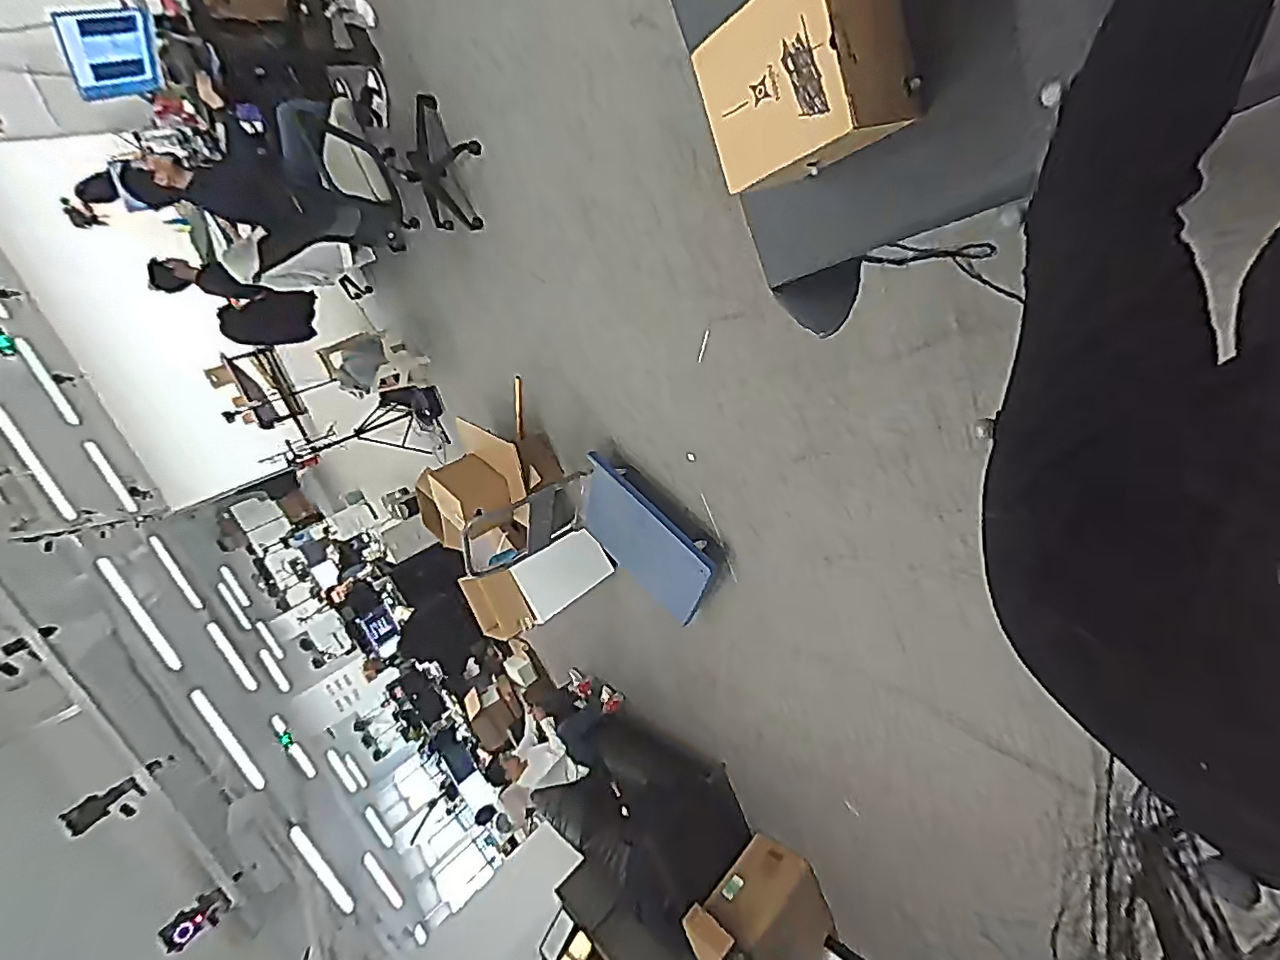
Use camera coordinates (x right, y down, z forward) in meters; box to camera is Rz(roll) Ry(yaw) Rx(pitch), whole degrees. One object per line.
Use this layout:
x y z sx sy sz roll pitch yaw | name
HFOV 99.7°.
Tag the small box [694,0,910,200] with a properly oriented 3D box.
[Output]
0.201 -0.467 0.650 0.179 0.176 0.168 1 116 52 | small box
